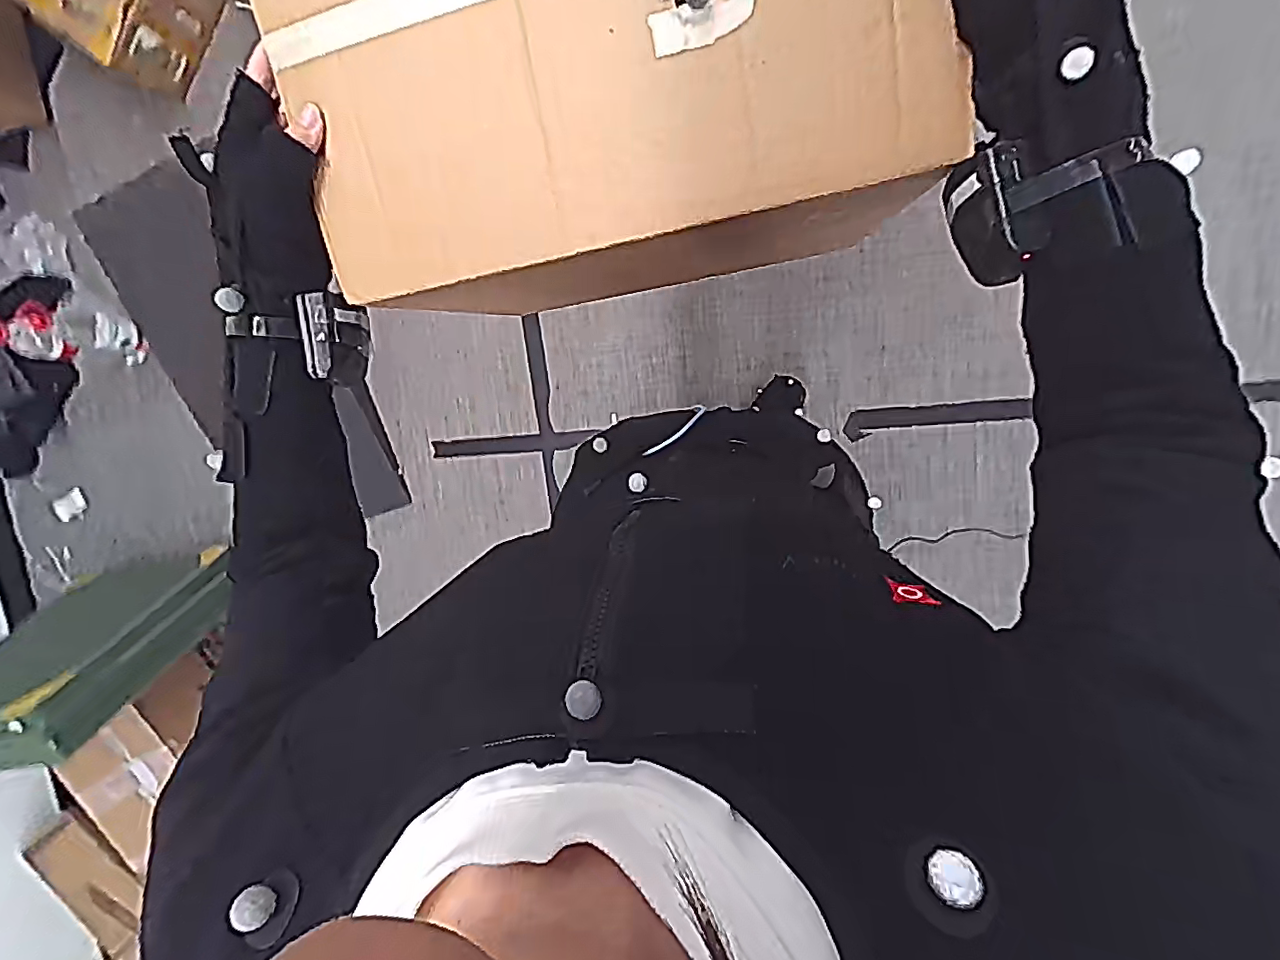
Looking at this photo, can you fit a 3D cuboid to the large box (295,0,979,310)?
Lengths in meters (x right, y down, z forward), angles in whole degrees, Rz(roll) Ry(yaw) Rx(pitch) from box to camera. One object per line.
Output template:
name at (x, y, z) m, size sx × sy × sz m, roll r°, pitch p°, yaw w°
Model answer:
large box at (-0.004, -0.347, 0.458) m, size 0.408 × 0.320 × 0.320 m, roll -8°, pitch 104°, yaw 11°
